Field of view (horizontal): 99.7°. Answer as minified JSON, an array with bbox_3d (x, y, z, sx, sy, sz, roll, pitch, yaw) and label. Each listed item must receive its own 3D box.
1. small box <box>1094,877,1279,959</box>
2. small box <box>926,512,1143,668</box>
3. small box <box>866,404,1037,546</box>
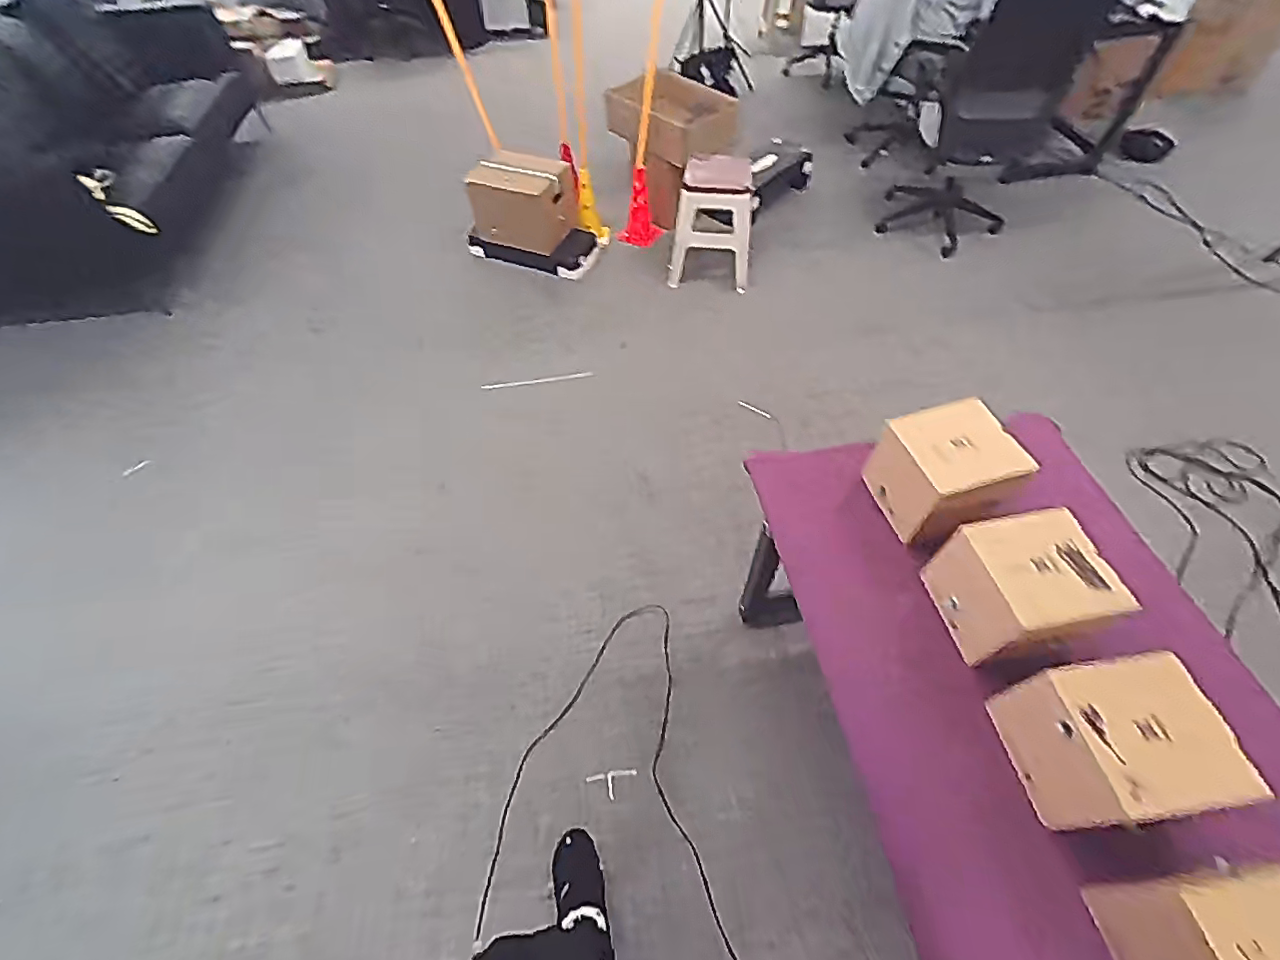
[{"bbox_3d":[0.648,0.528,0.566,0.179,0.176,0.168,-8,53,-2],"label":"small box"},{"bbox_3d":[0.583,0.173,0.830,0.179,0.176,0.168,-10,54,-3],"label":"small box"},{"bbox_3d":[0.537,-0.006,0.963,0.179,0.176,0.168,-13,54,-6],"label":"small box"}]
